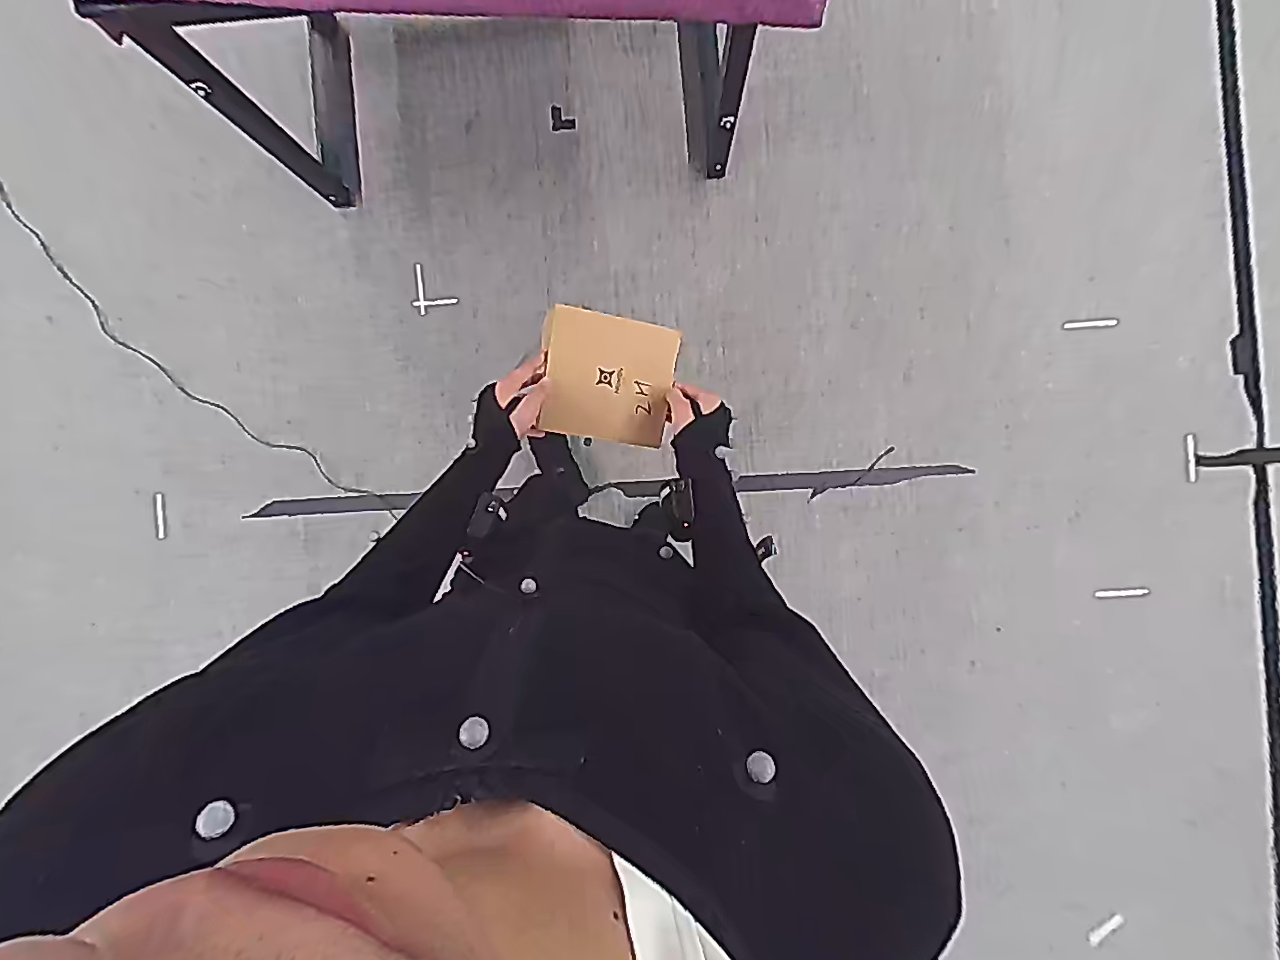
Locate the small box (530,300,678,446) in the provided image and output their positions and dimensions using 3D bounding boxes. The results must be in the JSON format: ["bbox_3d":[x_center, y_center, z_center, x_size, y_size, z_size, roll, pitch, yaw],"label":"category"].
[{"bbox_3d":[-0.063,-0.151,0.788,0.179,0.176,0.168,8,99,-15],"label":"small box"}]
